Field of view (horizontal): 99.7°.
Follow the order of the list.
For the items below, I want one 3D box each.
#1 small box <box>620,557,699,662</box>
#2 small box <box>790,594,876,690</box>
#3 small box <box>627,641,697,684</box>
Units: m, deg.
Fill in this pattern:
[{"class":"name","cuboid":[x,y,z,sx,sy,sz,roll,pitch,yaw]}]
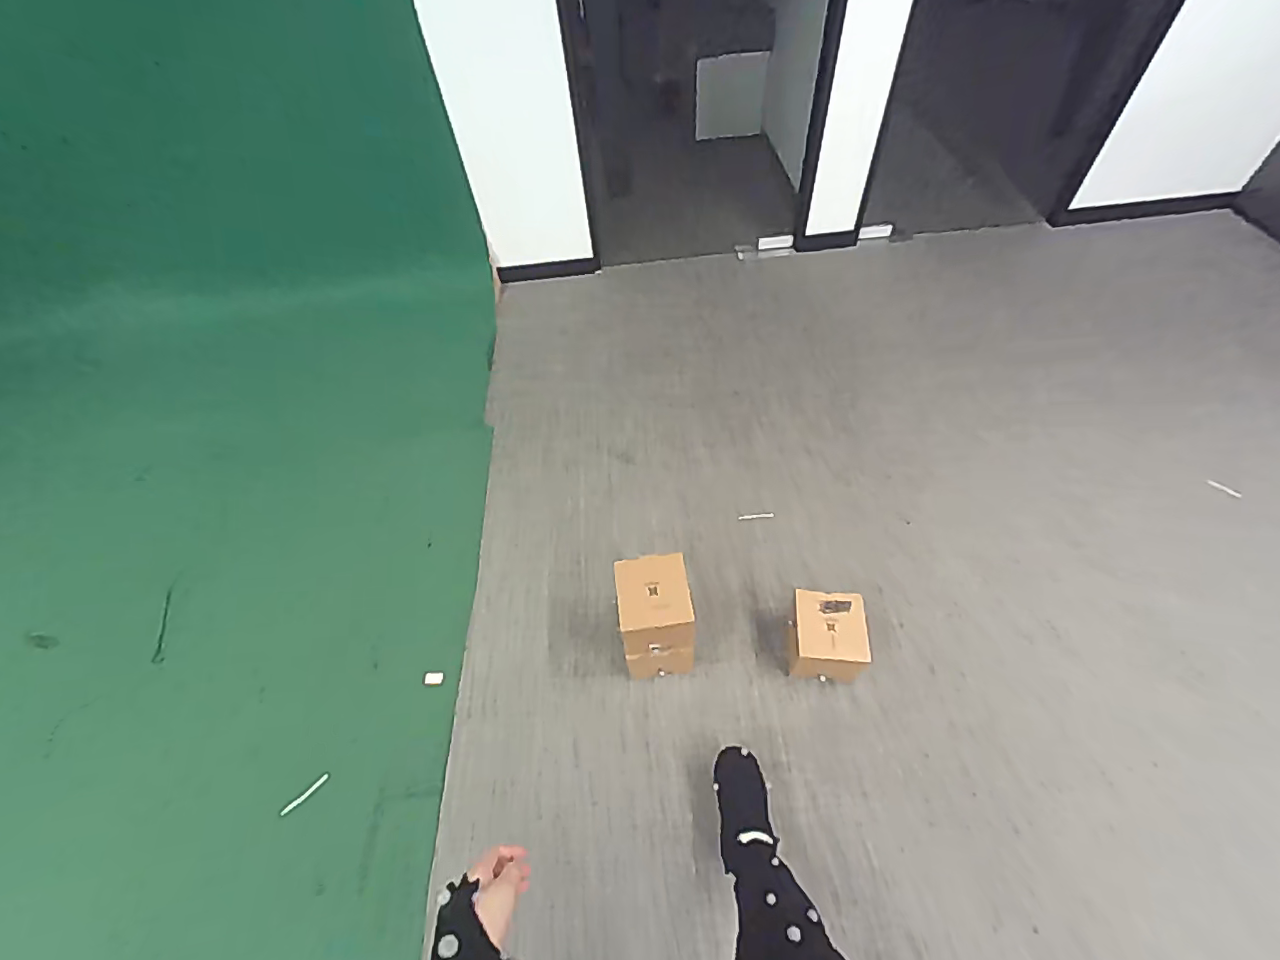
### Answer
[{"class":"small box","cuboid":[0.047,0.306,1.276,0.168,0.176,0.179,-8,50,1]},{"class":"small box","cuboid":[0.476,0.408,1.362,0.168,0.176,0.179,3,53,7]},{"class":"small box","cuboid":[0.049,0.407,1.400,0.168,0.176,0.179,-8,52,-1]}]
